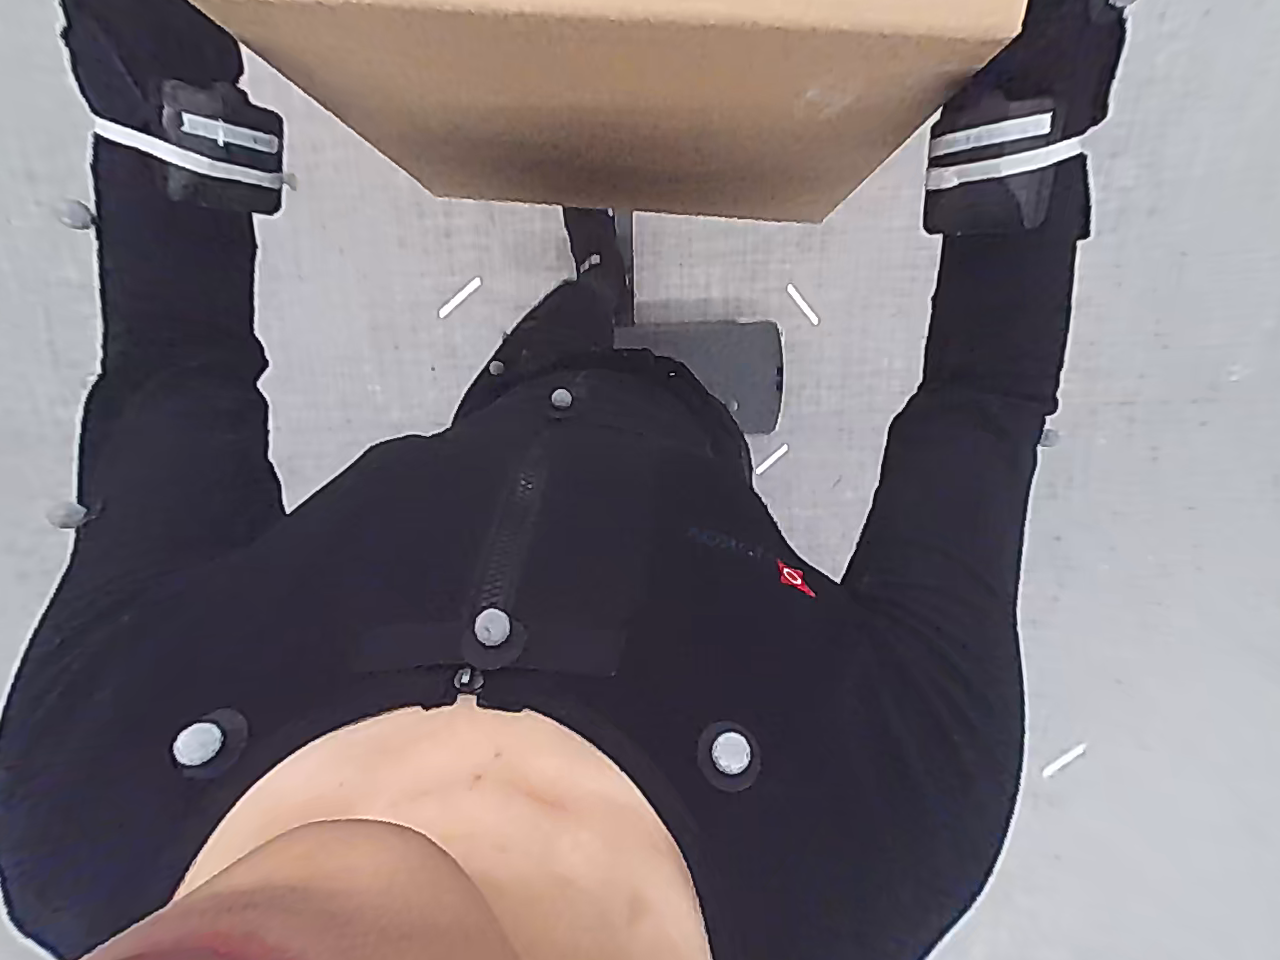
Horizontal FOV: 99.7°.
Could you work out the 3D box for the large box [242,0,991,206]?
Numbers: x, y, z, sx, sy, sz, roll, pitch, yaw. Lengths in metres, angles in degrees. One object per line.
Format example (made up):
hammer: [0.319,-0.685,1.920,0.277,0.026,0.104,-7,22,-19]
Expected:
large box: [-0.011,-0.415,0.388,0.408,0.320,0.320,4,100,1]
